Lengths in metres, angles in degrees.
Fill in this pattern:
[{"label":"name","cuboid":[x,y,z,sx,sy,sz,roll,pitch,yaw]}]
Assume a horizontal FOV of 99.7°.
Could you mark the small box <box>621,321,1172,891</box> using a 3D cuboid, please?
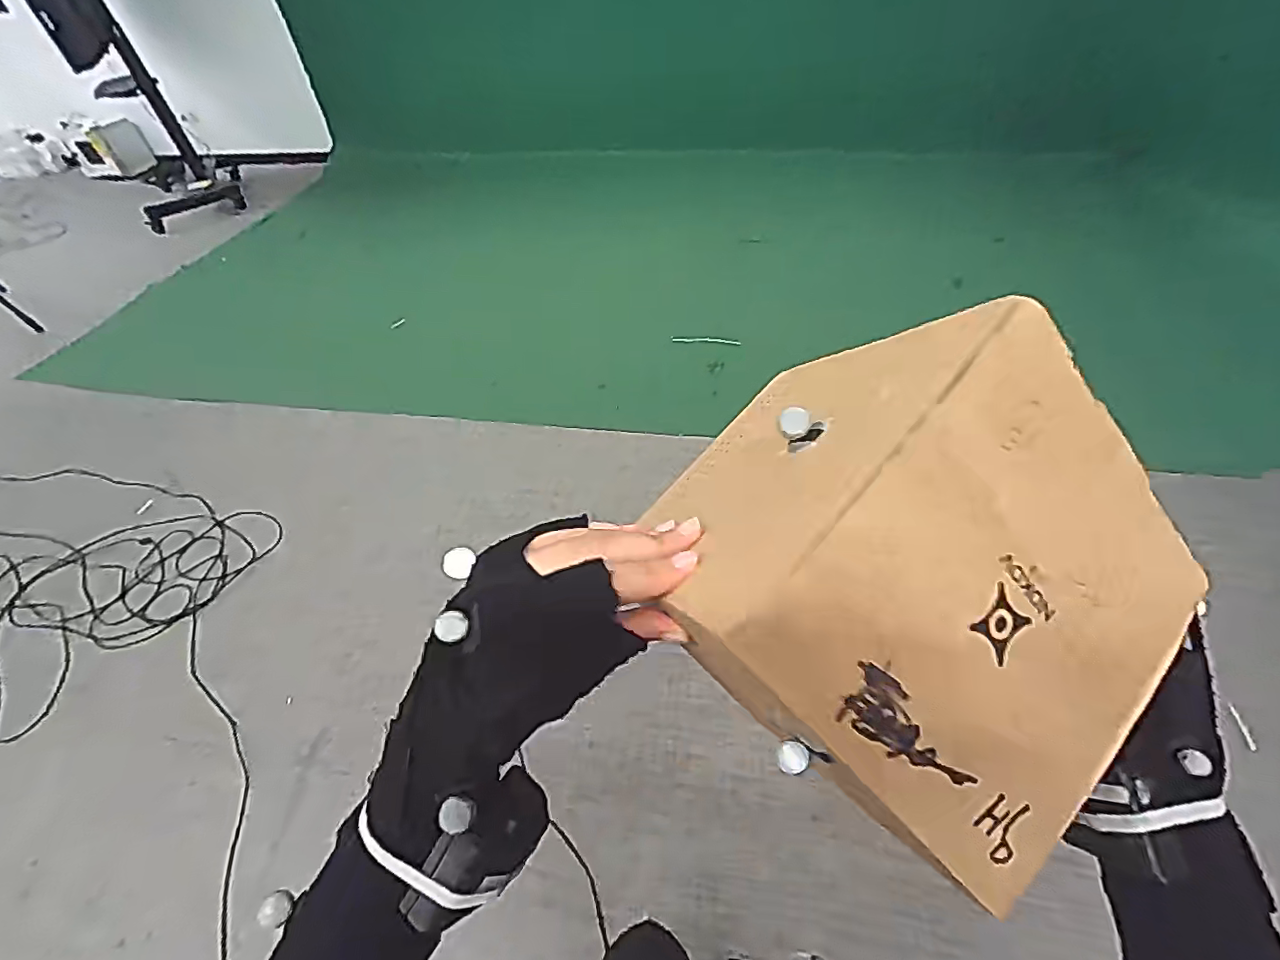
[{"label":"small box","cuboid":[0.116,0.049,0.294,0.179,0.168,0.176,-46,14,-13]}]
